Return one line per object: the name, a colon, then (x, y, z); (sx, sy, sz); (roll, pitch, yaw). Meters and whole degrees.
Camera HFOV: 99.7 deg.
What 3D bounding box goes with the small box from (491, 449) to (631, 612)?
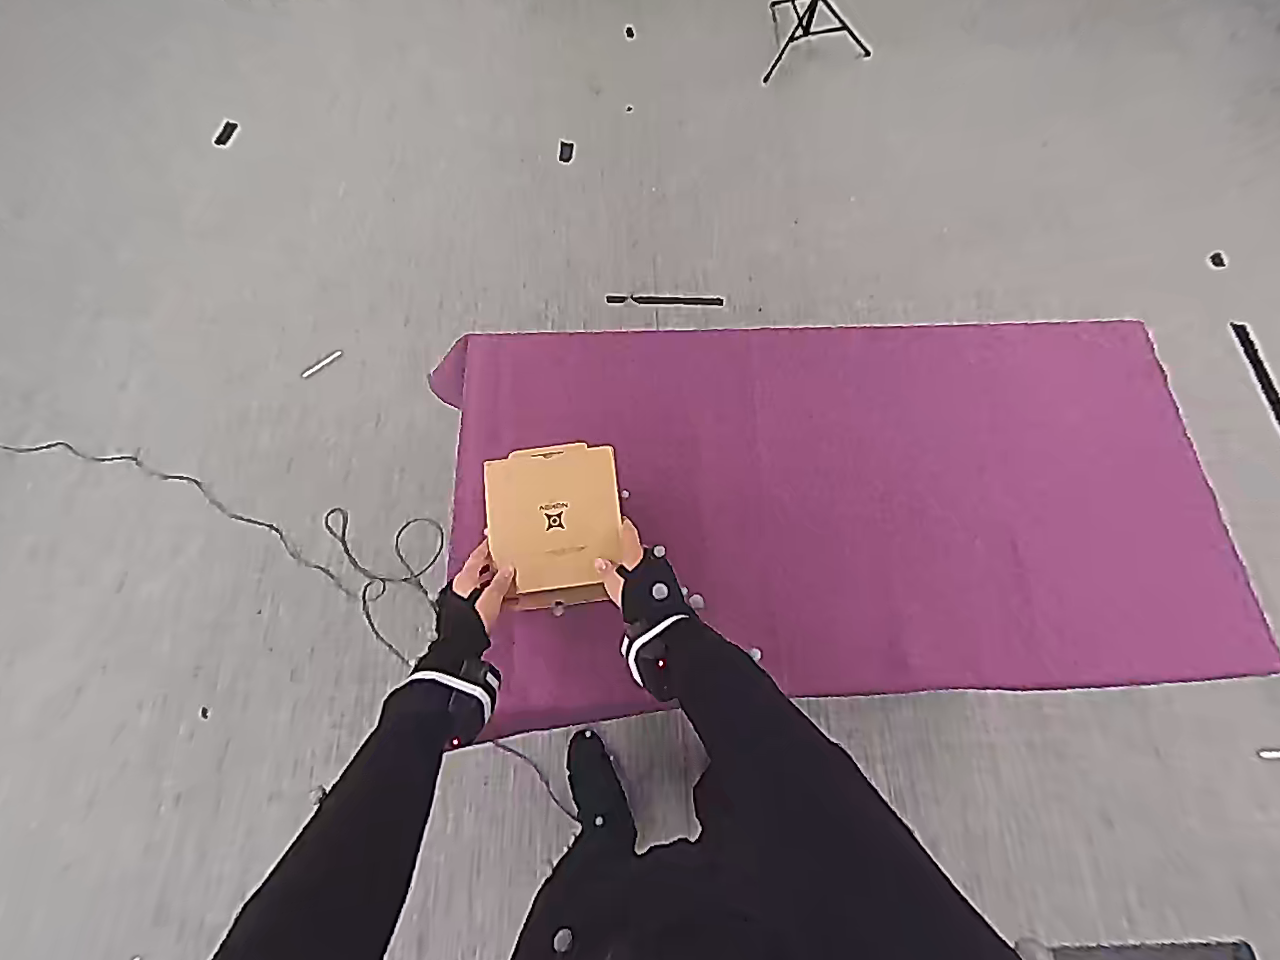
small box: (-0.105, 0.076, 0.747); (0.168, 0.176, 0.179); (-7, 70, -4)
